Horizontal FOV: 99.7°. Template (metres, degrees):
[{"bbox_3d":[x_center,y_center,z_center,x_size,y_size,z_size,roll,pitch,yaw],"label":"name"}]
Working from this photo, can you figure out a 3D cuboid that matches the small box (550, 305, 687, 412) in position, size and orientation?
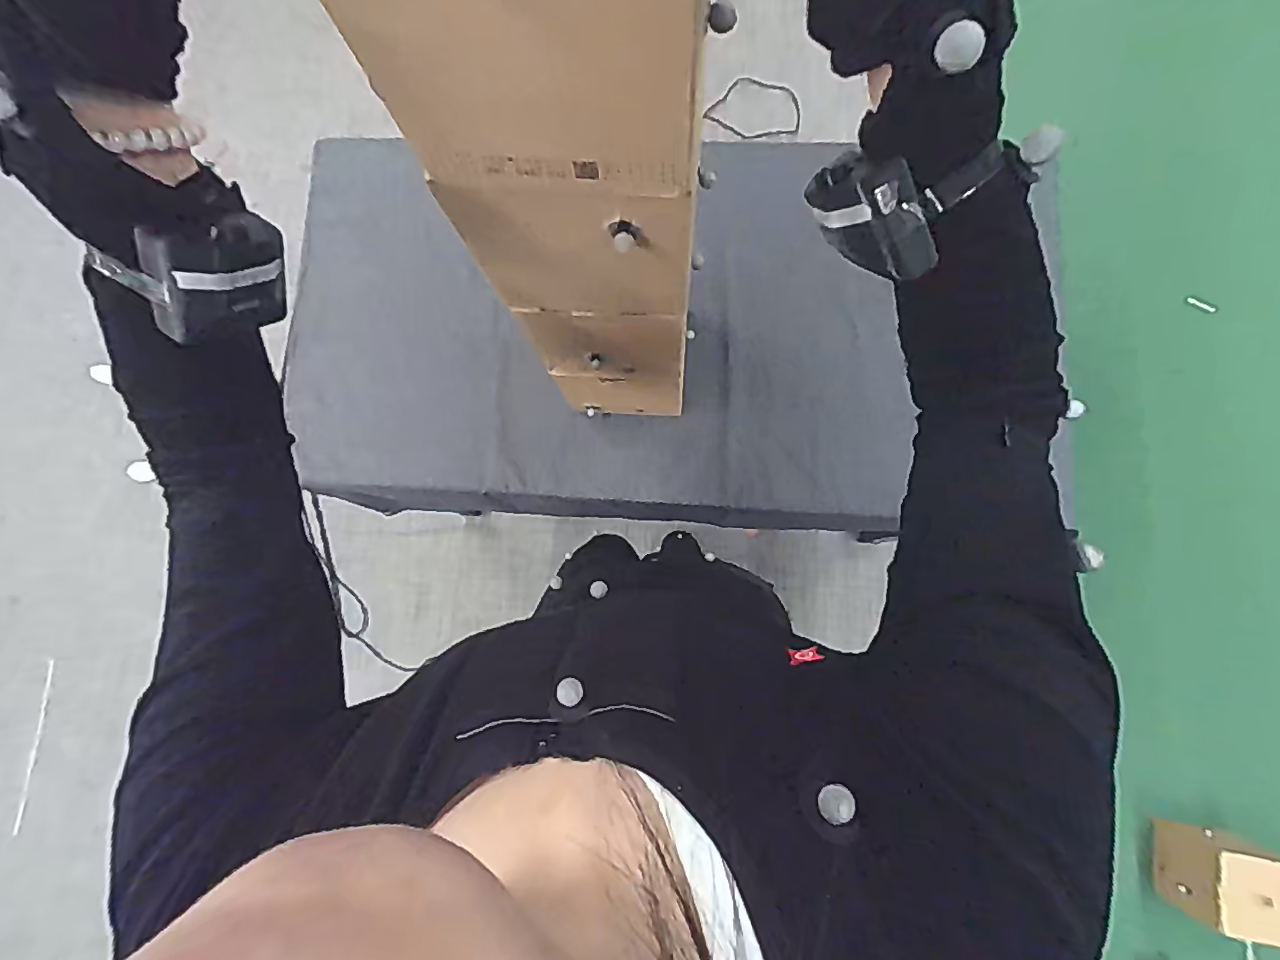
[{"bbox_3d":[-0.020,-0.202,0.761,0.168,0.176,0.179,3,80,5],"label":"small box"}]

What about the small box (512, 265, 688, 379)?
[{"bbox_3d":[-0.031,-0.228,0.602,0.168,0.176,0.179,3,81,5],"label":"small box"}]

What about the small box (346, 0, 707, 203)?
[{"bbox_3d":[-0.049,-0.280,0.278,0.168,0.176,0.179,6,81,5],"label":"small box"}]

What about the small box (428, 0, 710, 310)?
[{"bbox_3d":[-0.042,-0.253,0.439,0.179,0.176,0.168,5,81,5],"label":"small box"}]

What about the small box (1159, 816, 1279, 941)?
[{"bbox_3d":[1.318,0.882,1.207,0.179,0.176,0.168,8,82,6],"label":"small box"}]
